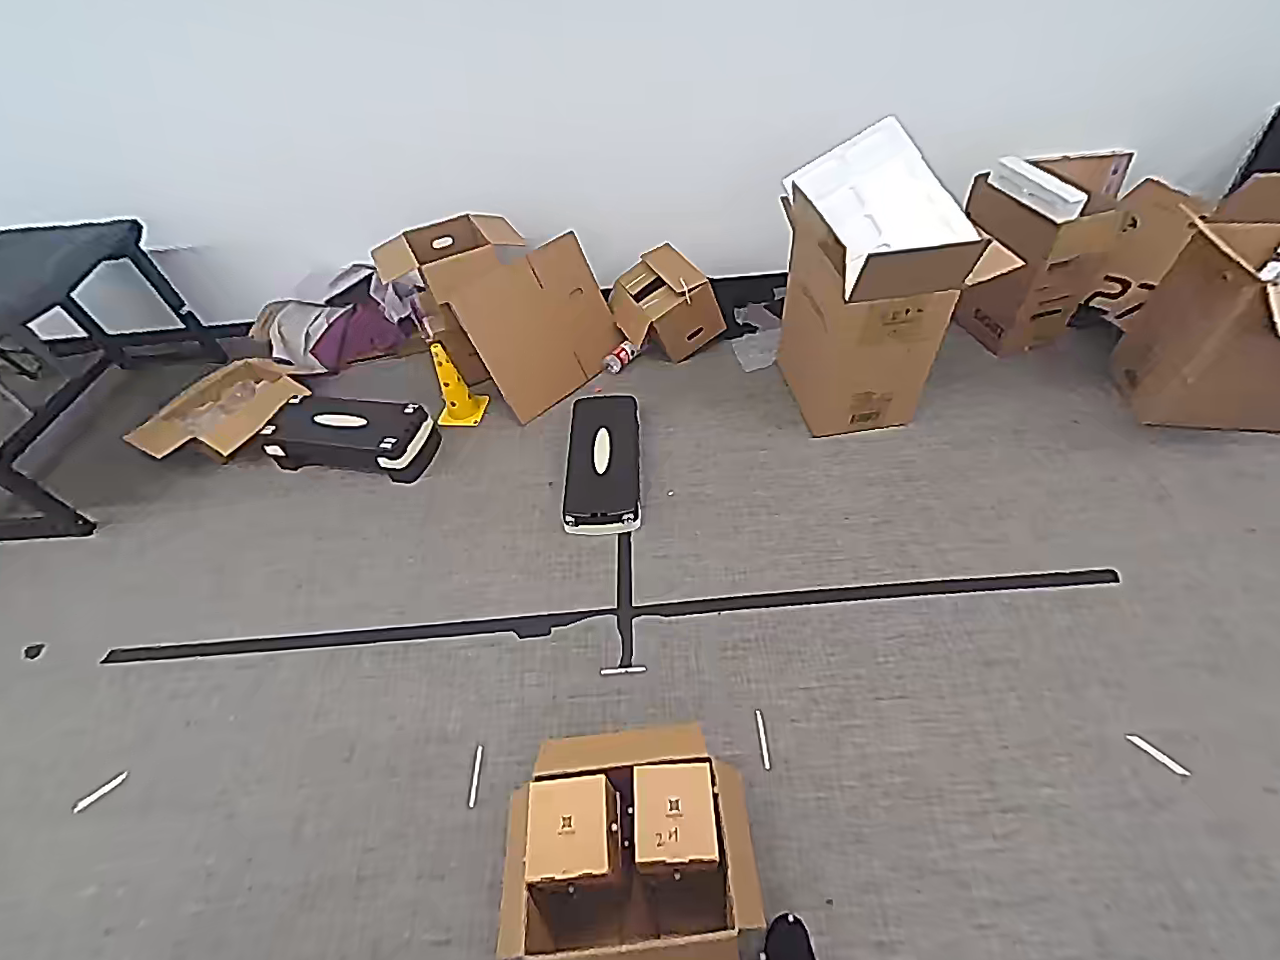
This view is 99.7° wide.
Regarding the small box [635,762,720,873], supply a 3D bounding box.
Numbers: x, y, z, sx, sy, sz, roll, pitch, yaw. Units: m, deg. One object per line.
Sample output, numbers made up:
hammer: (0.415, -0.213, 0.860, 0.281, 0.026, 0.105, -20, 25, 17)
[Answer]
small box: (0.078, 0.722, 1.155, 0.168, 0.176, 0.179, -4, 49, 3)
